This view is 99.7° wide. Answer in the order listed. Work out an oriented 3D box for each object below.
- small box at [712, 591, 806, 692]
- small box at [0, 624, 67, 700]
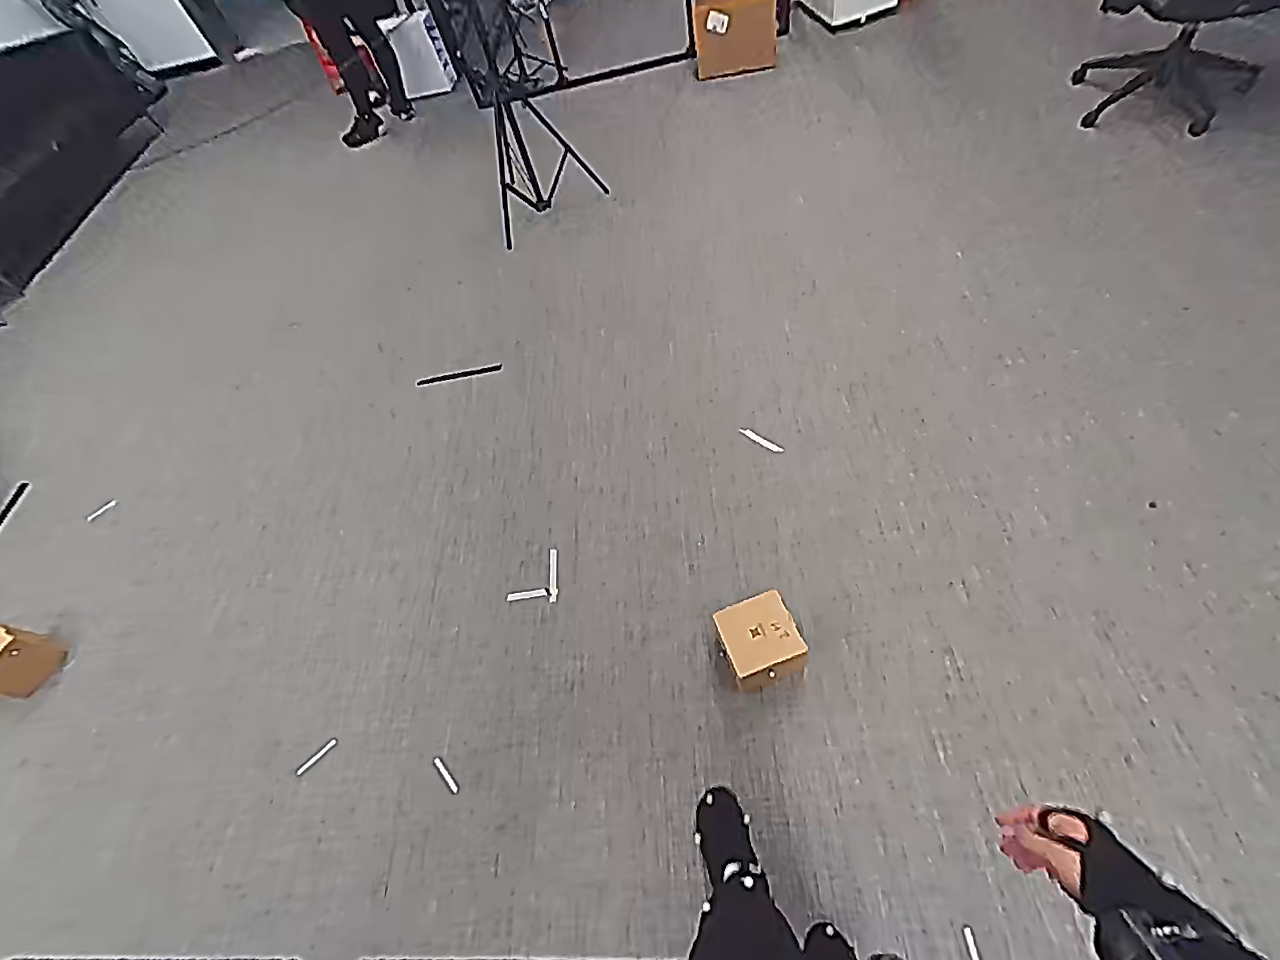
[{"bbox_3d":[0.295,0.407,1.344,0.179,0.176,0.168,-21,55,-2],"label":"small box"},{"bbox_3d":[-2.050,0.593,1.755,0.168,0.176,0.179,14,61,21],"label":"small box"}]
